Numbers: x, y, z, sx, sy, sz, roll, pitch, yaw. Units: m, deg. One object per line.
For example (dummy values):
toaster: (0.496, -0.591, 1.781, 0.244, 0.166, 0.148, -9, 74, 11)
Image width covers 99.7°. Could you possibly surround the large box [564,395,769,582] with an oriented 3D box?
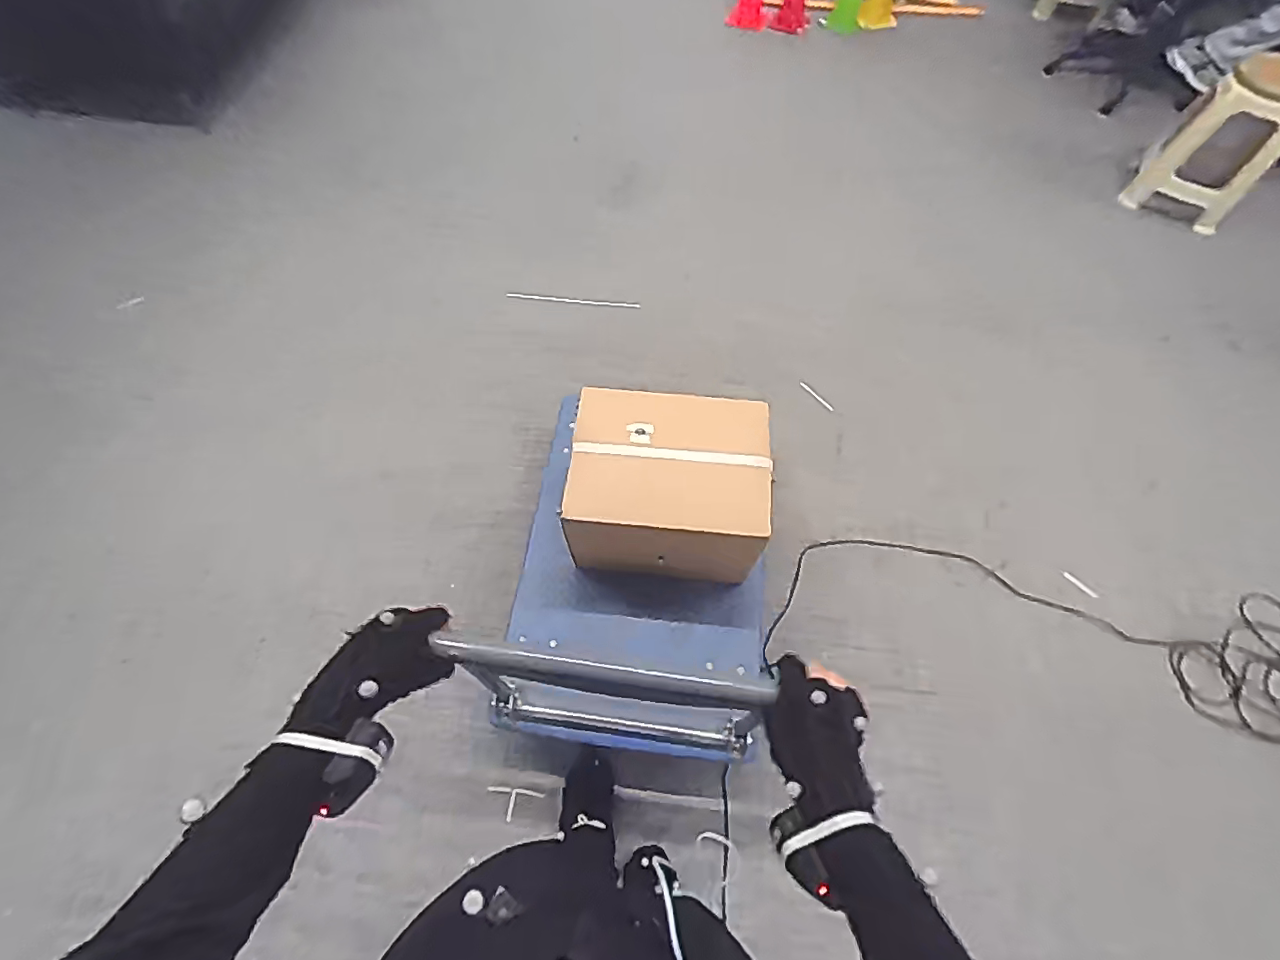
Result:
large box: (0.065, 0.032, 1.236, 0.408, 0.320, 0.320, 6, 62, 3)
